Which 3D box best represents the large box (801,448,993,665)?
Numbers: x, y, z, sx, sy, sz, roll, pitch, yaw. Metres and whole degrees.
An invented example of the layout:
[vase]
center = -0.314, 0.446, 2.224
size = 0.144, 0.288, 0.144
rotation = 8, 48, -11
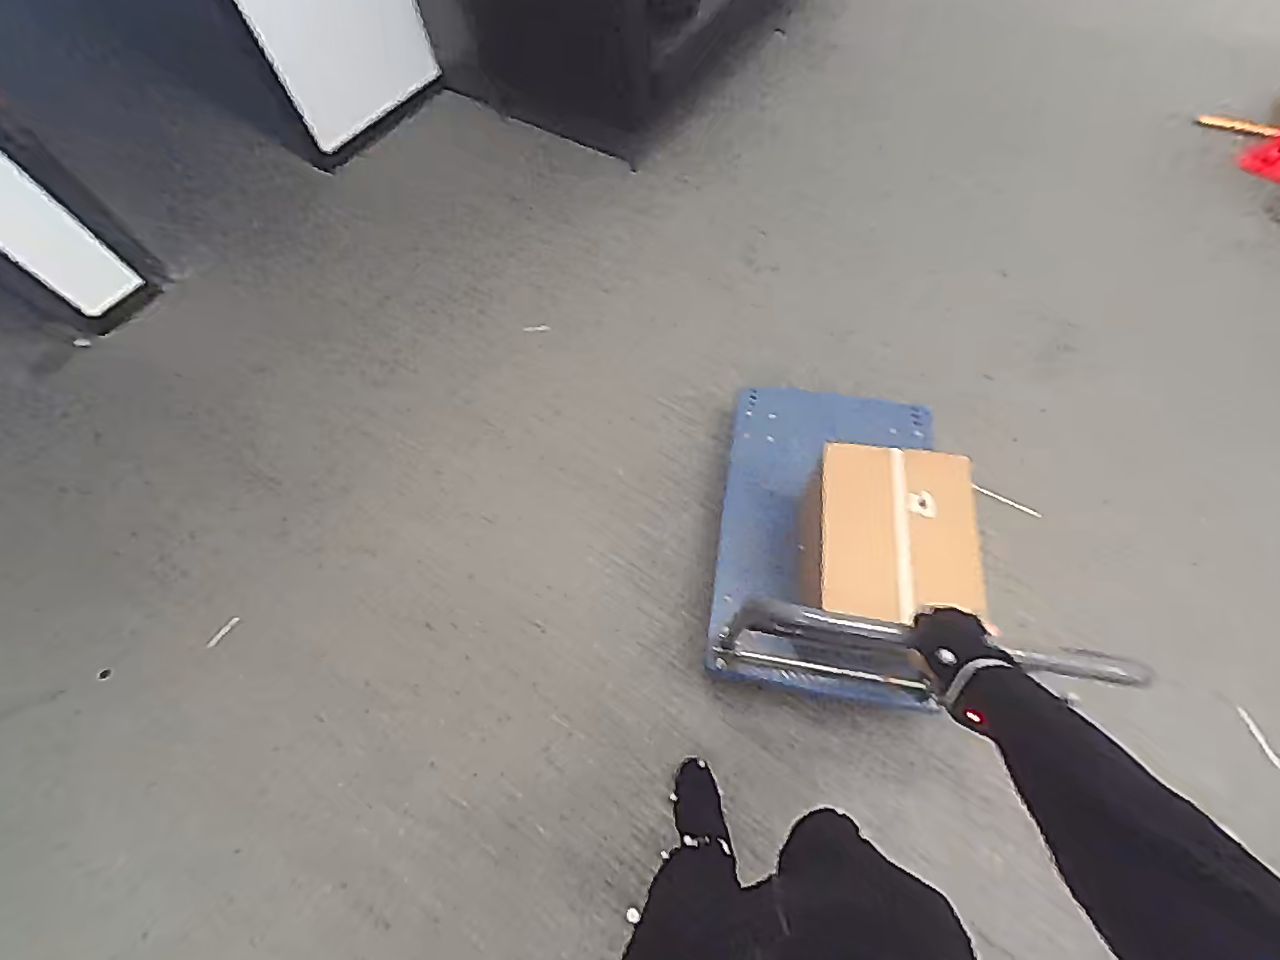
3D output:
[large box]
center = 0.561, 0.185, 1.265
size = 0.320, 0.320, 0.408
rotation = 7, 62, 7
